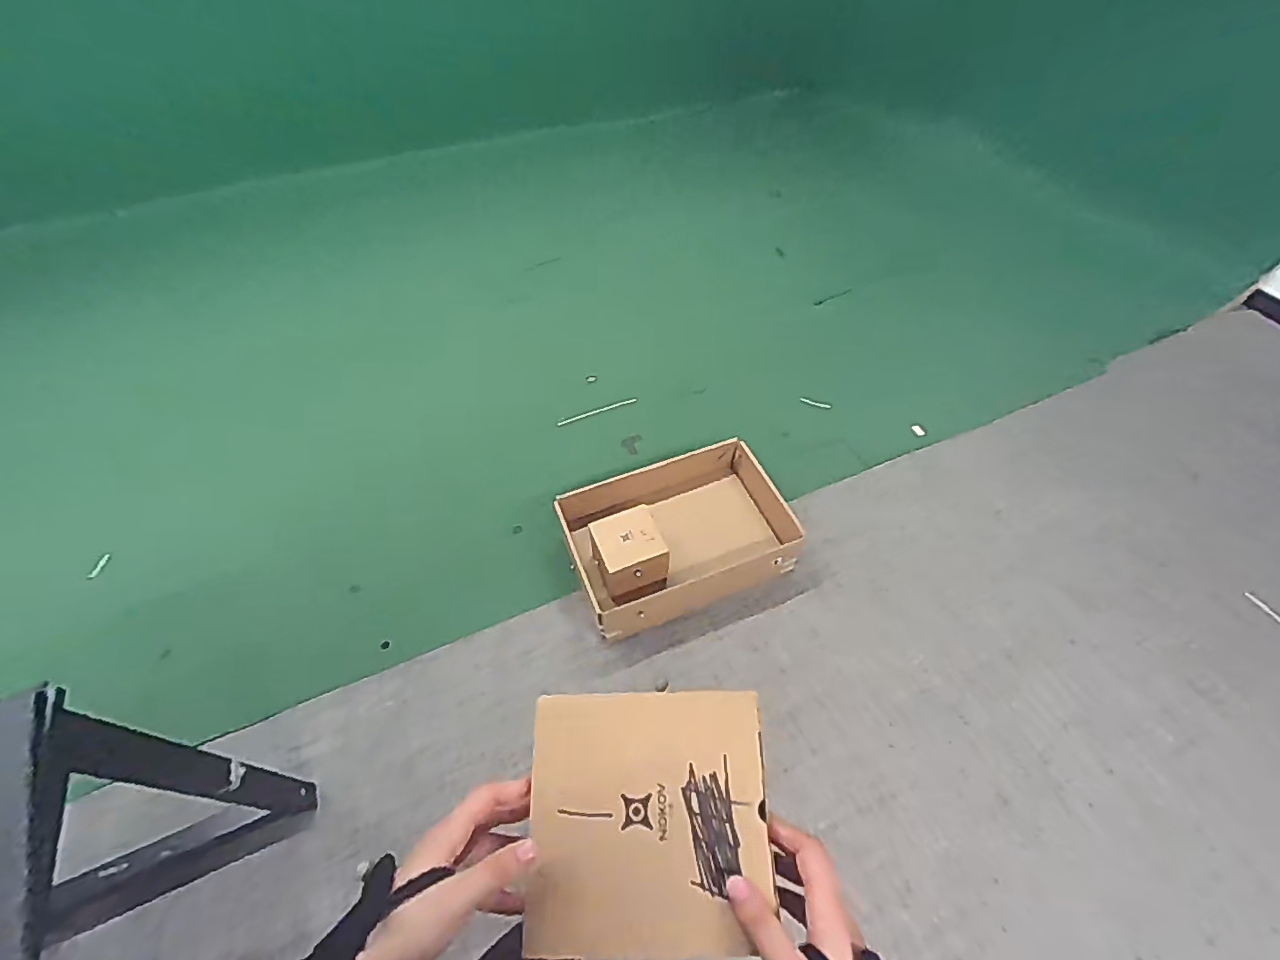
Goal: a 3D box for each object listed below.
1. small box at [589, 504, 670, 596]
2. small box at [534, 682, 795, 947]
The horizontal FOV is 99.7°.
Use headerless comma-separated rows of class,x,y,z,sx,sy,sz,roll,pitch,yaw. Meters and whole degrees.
small box,-0.031,0.199,1.503,0.179,0.176,0.168,-18,56,-14
small box,0.017,0.263,0.460,0.179,0.176,0.168,-2,65,2
